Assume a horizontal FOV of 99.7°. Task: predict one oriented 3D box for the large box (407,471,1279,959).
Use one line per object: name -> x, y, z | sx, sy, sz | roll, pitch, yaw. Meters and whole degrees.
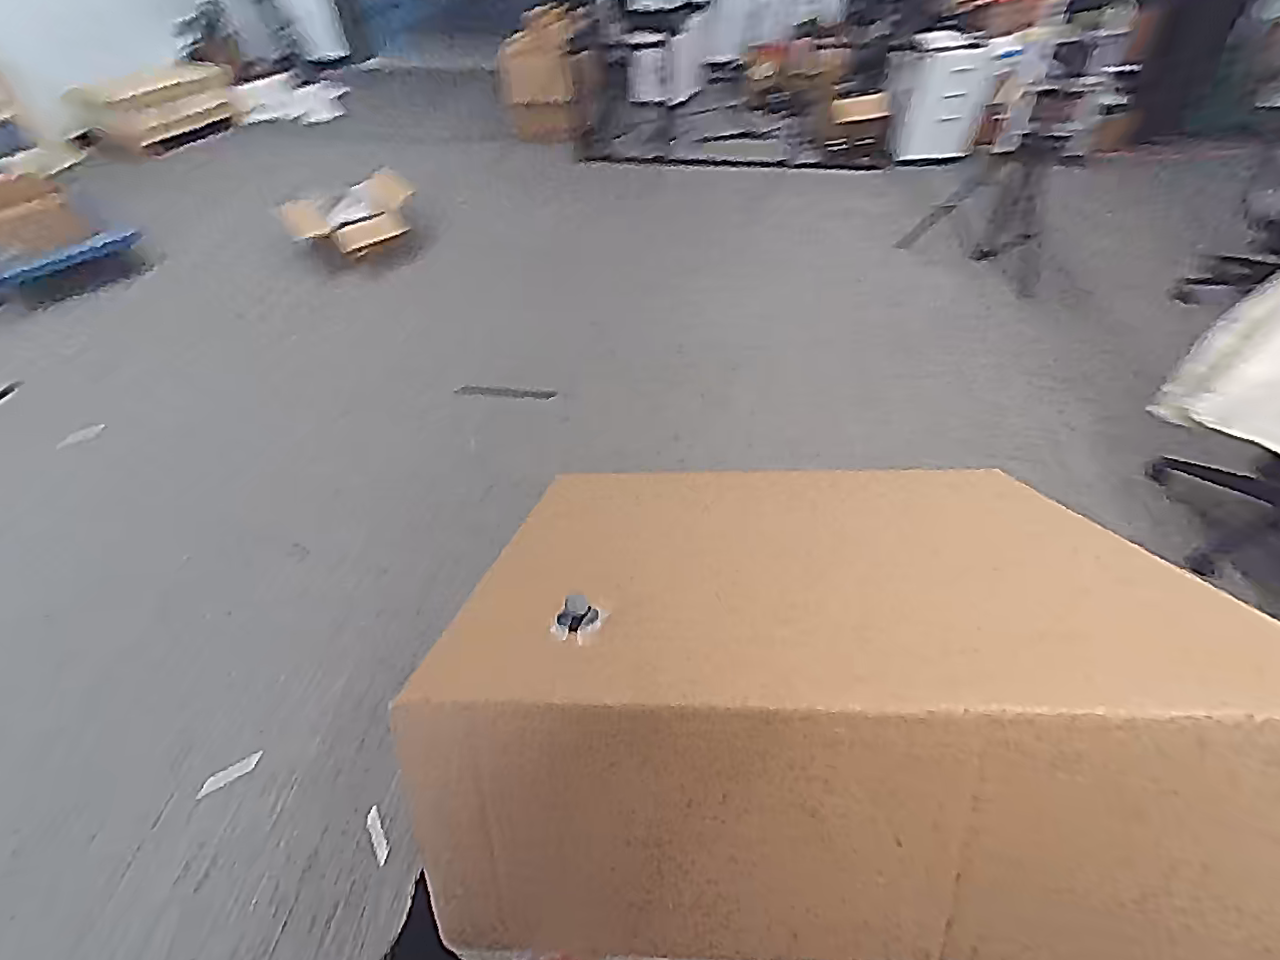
large box -> 0.109, 0.187, 0.412 | 0.408, 0.320, 0.320 | -2, 19, 4
